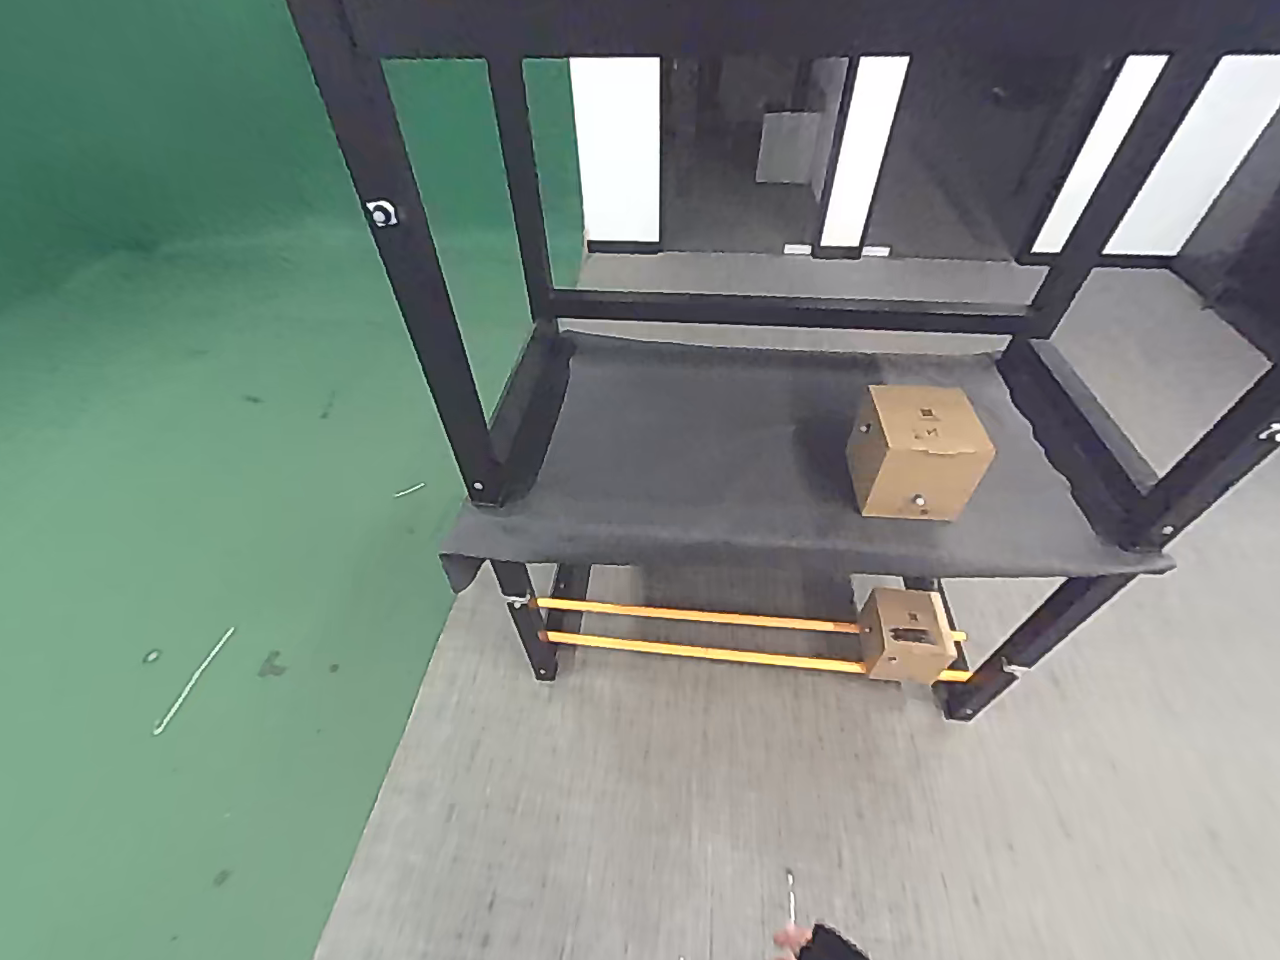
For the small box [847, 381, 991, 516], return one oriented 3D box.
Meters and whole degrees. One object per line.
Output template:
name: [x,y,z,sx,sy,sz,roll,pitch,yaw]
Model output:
small box: [0.486,-0.058,0.976,0.168,0.176,0.179,2,45,5]
